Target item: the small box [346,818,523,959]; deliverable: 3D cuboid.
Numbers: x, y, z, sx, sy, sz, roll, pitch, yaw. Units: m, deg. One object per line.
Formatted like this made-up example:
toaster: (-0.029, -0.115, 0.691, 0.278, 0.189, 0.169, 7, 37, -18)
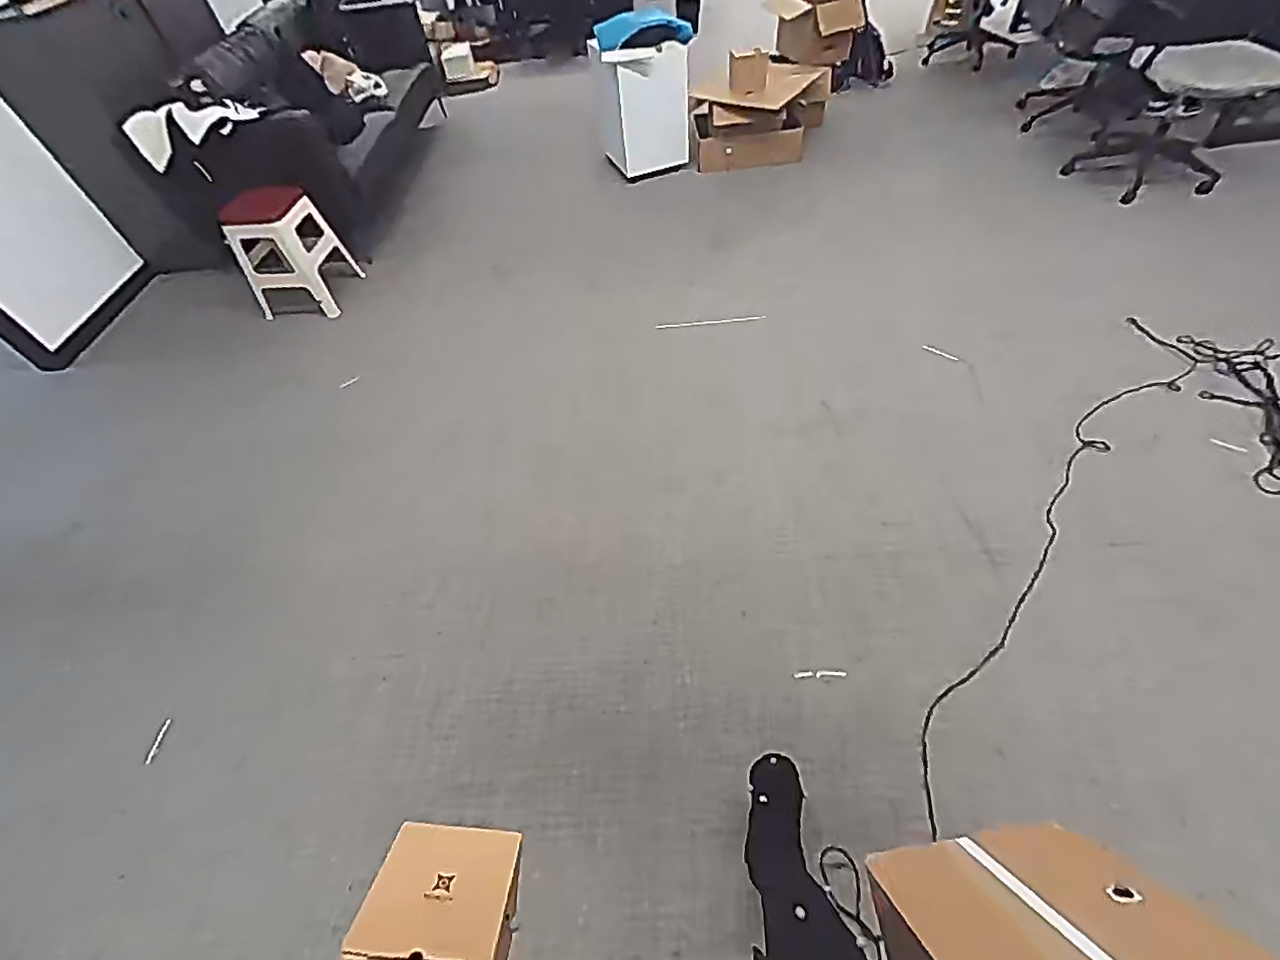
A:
small box: (-0.255, 0.578, 0.689, 0.168, 0.176, 0.179, 7, 12, -2)
